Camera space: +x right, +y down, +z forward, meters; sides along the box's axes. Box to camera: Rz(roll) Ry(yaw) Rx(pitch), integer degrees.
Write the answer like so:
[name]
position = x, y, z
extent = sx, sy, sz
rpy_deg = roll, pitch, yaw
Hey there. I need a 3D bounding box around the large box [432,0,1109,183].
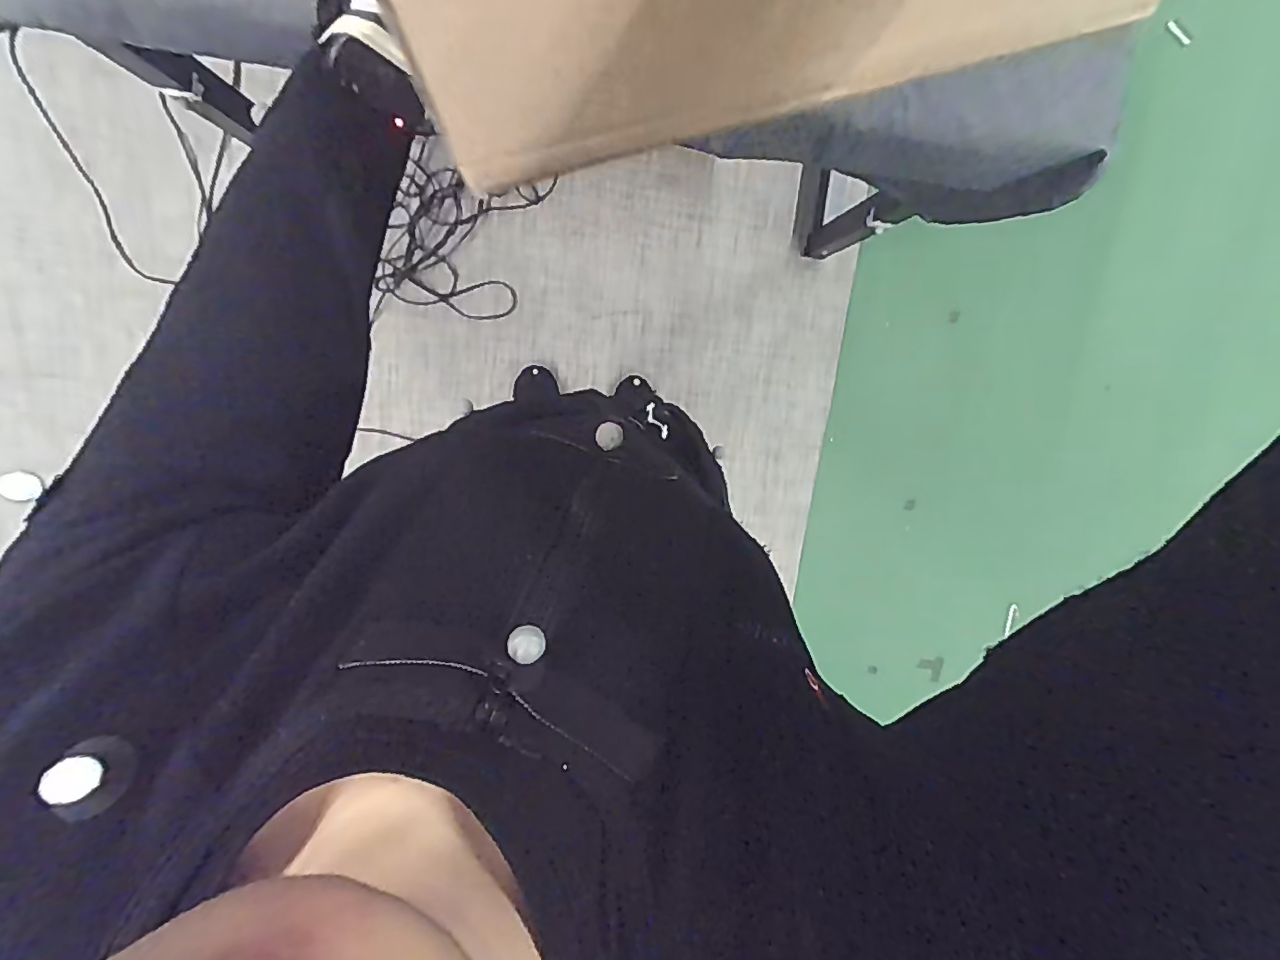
[large box]
position = 0.010, -0.406, 0.197
extent = 0.320, 0.320, 0.408
rpy_deg = -17, 64, -1
